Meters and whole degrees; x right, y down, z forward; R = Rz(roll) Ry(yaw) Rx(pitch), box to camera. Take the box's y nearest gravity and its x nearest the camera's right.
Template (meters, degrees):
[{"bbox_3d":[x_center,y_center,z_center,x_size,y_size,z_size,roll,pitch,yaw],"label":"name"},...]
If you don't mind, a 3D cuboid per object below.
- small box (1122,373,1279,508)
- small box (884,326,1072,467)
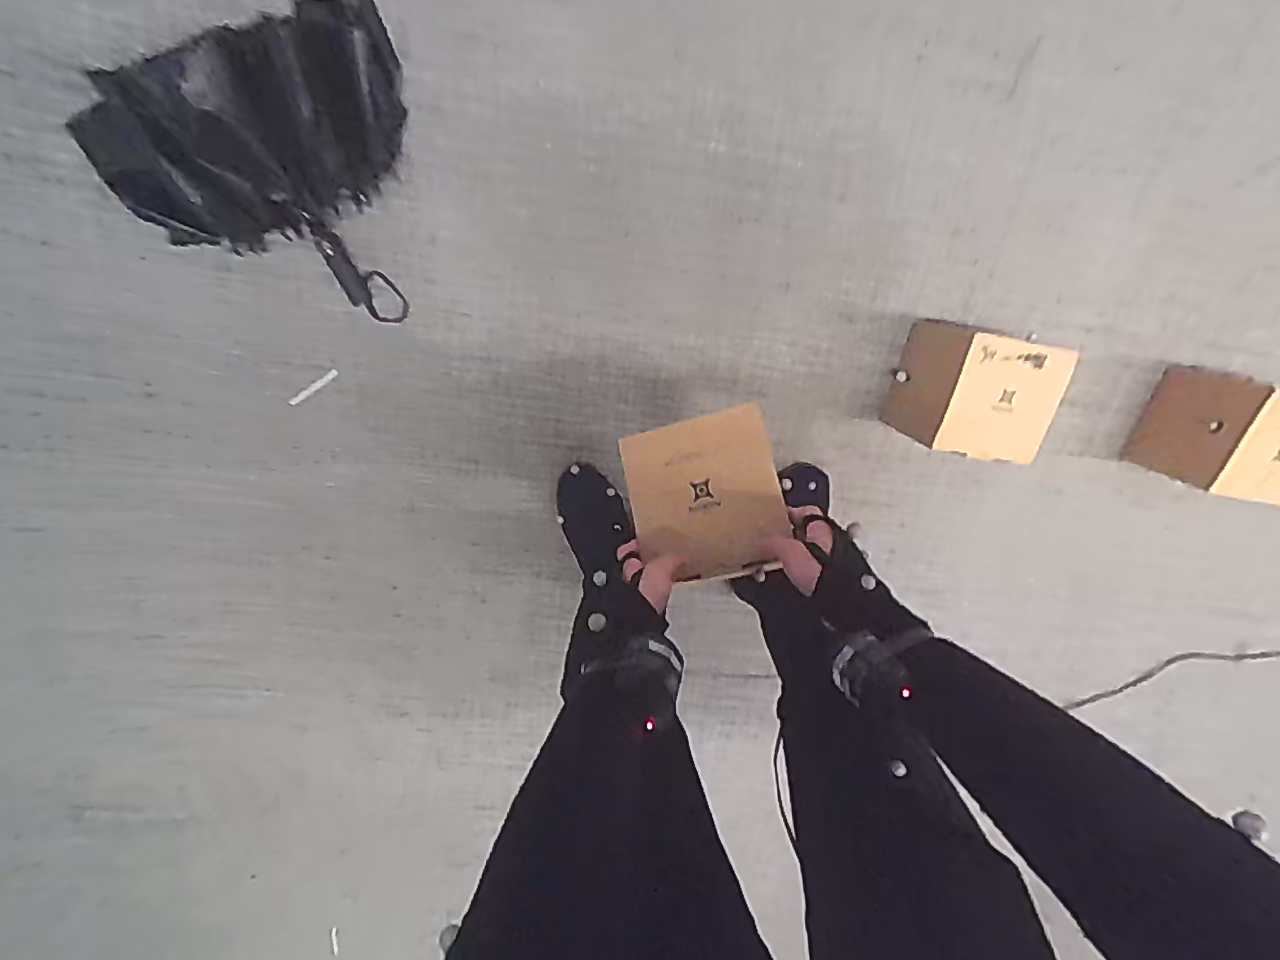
[{"bbox_3d":[0.995,-0.074,0.923,0.168,0.176,0.179,10,111,-6],"label":"small box"},{"bbox_3d":[0.525,-0.141,0.874,0.168,0.176,0.179,9,110,-7],"label":"small box"}]
